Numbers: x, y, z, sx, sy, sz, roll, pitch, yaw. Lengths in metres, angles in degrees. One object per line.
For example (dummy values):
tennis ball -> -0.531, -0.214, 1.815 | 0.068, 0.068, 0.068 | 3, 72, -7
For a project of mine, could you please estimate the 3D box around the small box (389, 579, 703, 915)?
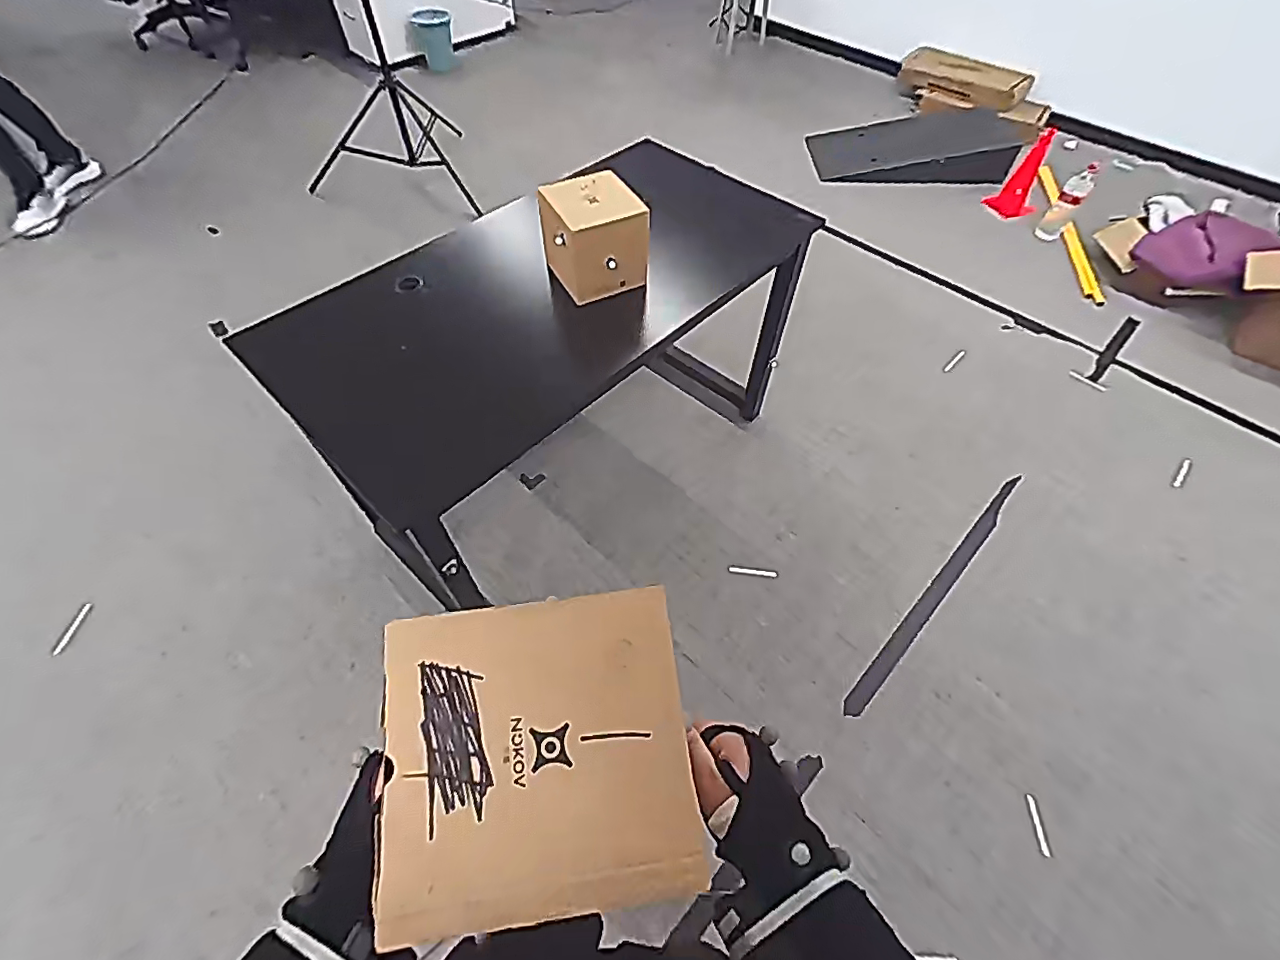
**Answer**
small box -> -0.061, 0.179, 0.398 | 0.179, 0.176, 0.168 | -7, 70, -5

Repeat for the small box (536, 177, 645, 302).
small box -> -0.099, -0.494, 1.131 | 0.168, 0.176, 0.179 | -24, 59, -17
